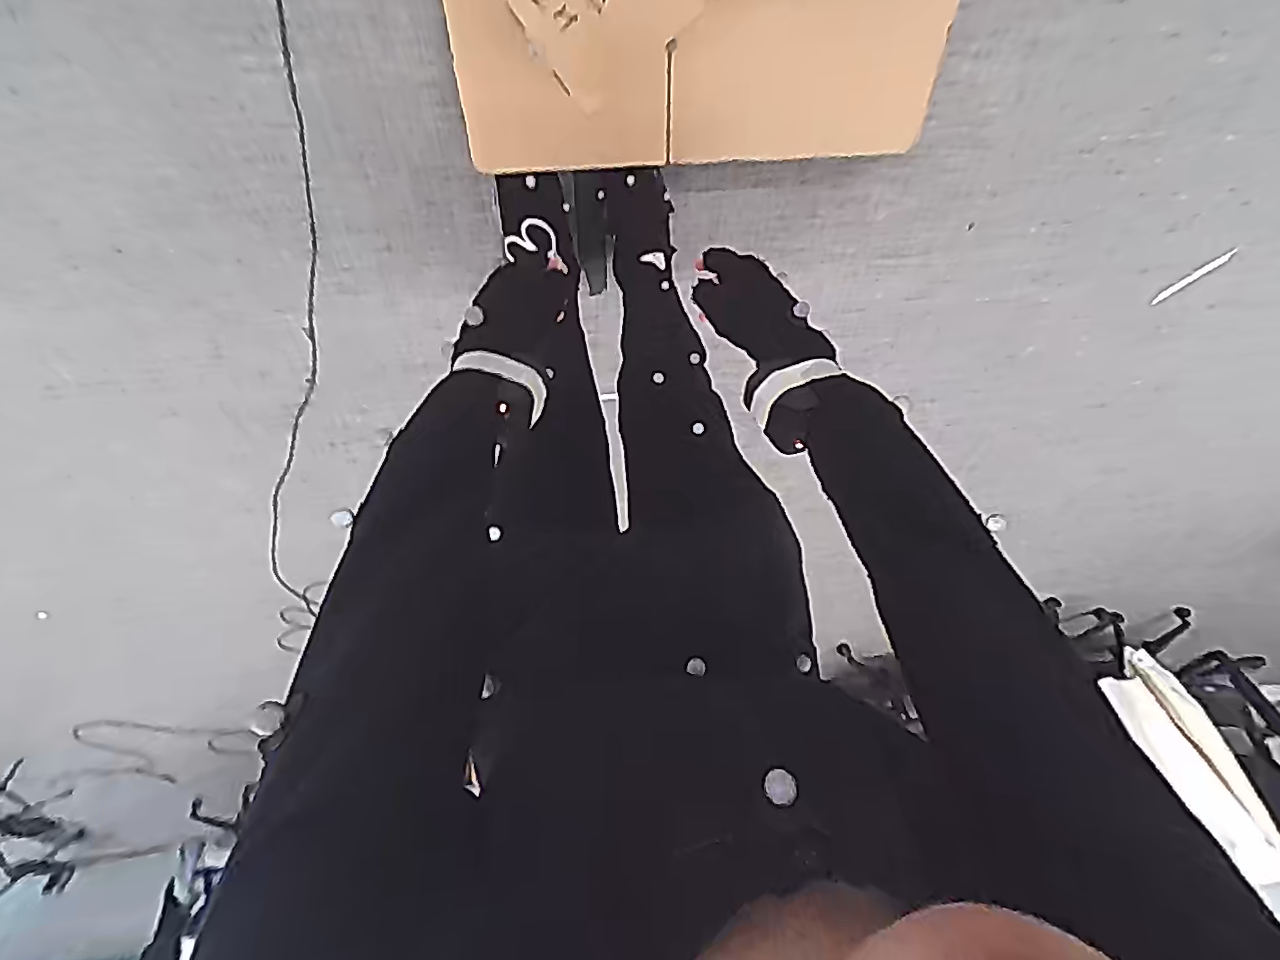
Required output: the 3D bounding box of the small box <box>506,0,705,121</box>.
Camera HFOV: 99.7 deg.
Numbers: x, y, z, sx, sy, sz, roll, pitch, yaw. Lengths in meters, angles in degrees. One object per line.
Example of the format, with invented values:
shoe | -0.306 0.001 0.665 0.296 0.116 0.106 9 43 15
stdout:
small box | -0.053 -0.575 0.638 0.179 0.176 0.168 -32 129 18
